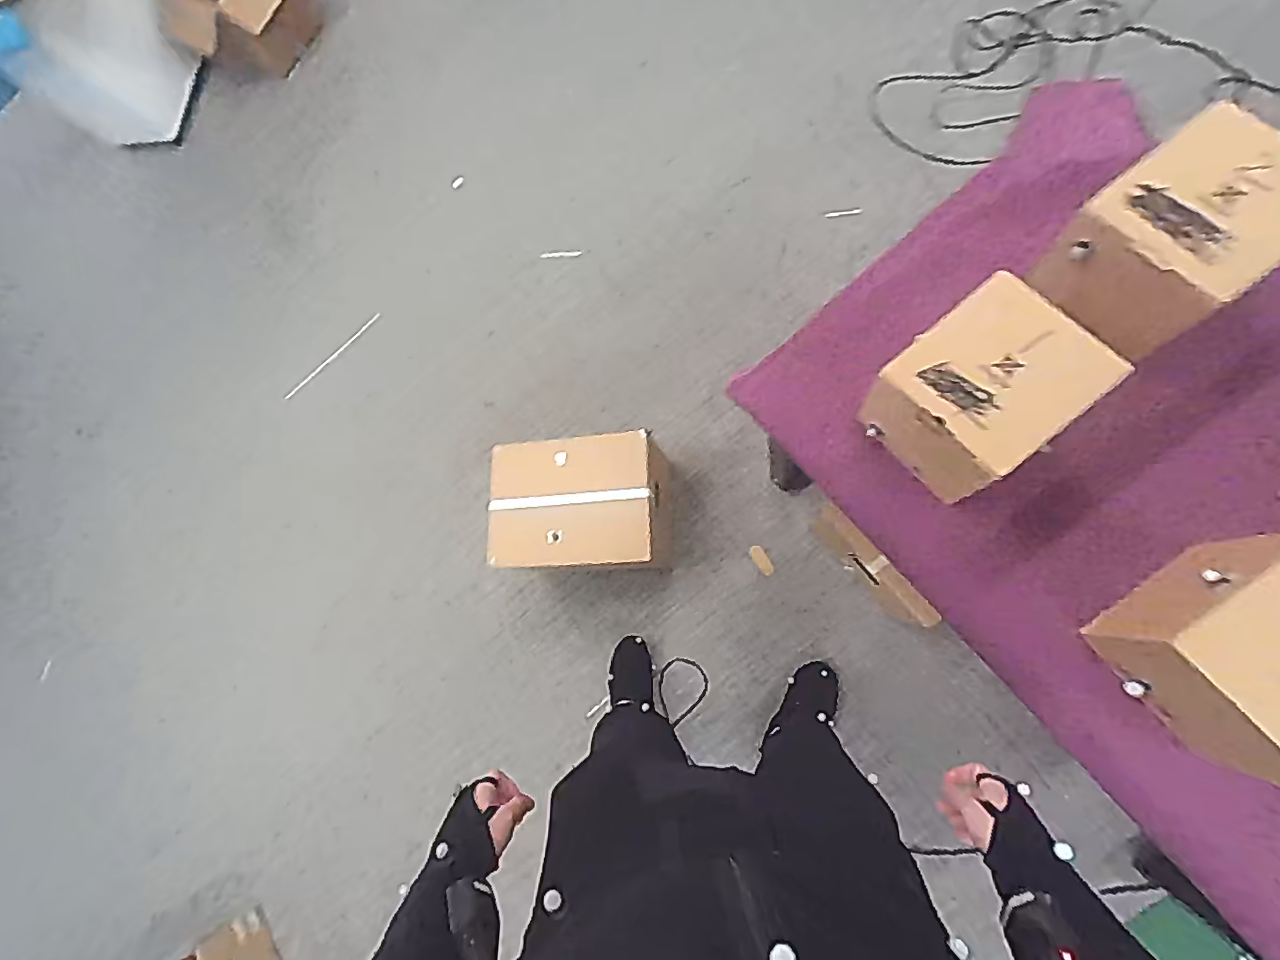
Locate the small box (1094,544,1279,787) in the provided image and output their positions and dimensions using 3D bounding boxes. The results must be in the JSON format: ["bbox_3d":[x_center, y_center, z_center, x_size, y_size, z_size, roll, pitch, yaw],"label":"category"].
[{"bbox_3d":[0.612,0.172,0.524,0.179,0.176,0.168,-38,71,4],"label":"small box"}]

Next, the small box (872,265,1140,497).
[{"bbox_3d":[0.398,-0.101,0.633,0.179,0.176,0.168,-40,73,2],"label":"small box"}]

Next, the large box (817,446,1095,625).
[{"bbox_3d":[0.665,0.080,1.226,0.408,0.320,0.320,-39,73,3],"label":"large box"}]
